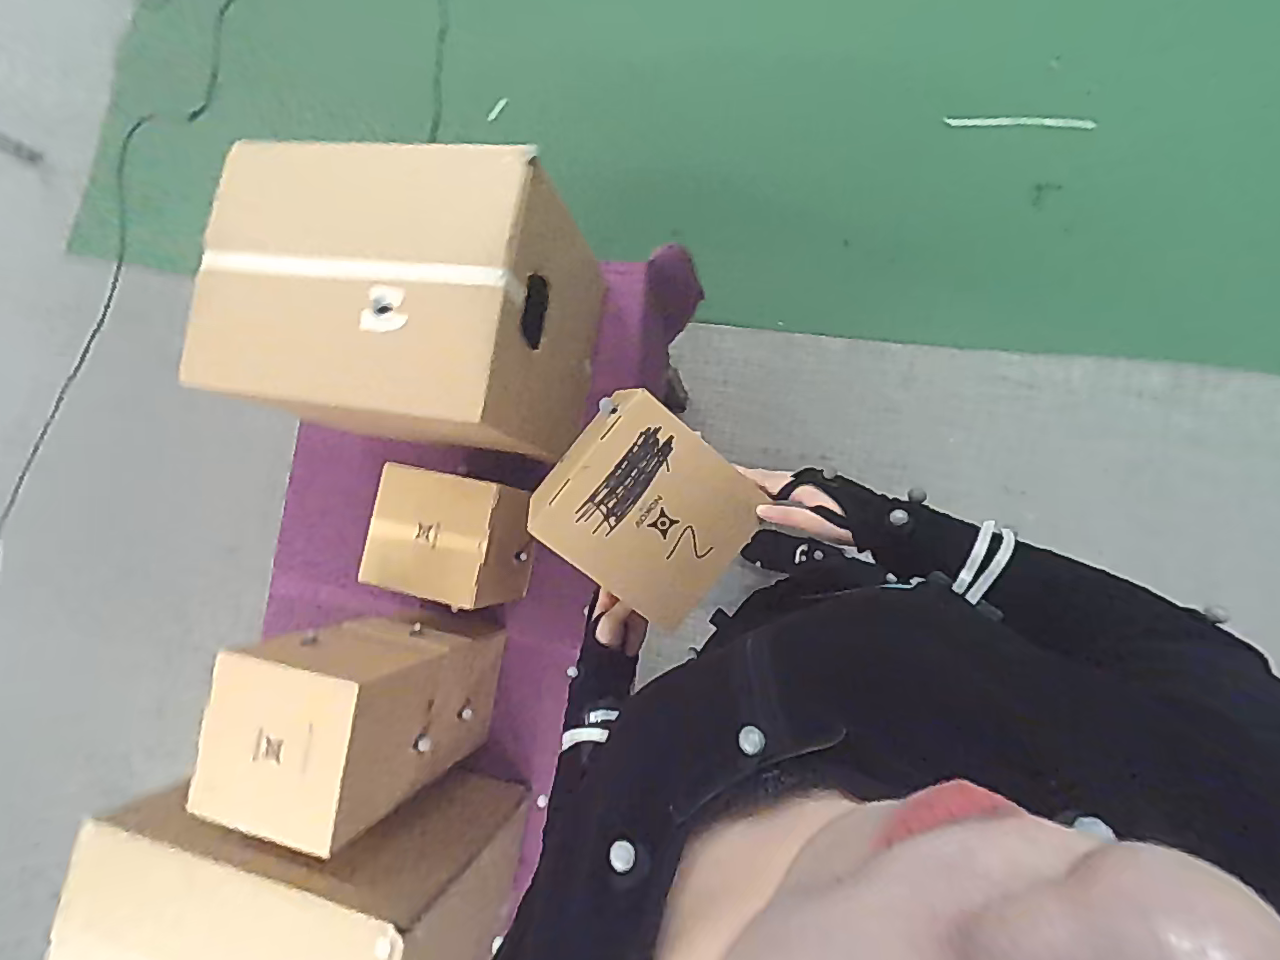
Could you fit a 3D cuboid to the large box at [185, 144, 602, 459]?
[{"bbox_3d":[-0.302,-0.225,0.766,0.408,0.320,0.320,8,85,11],"label":"large box"}]
